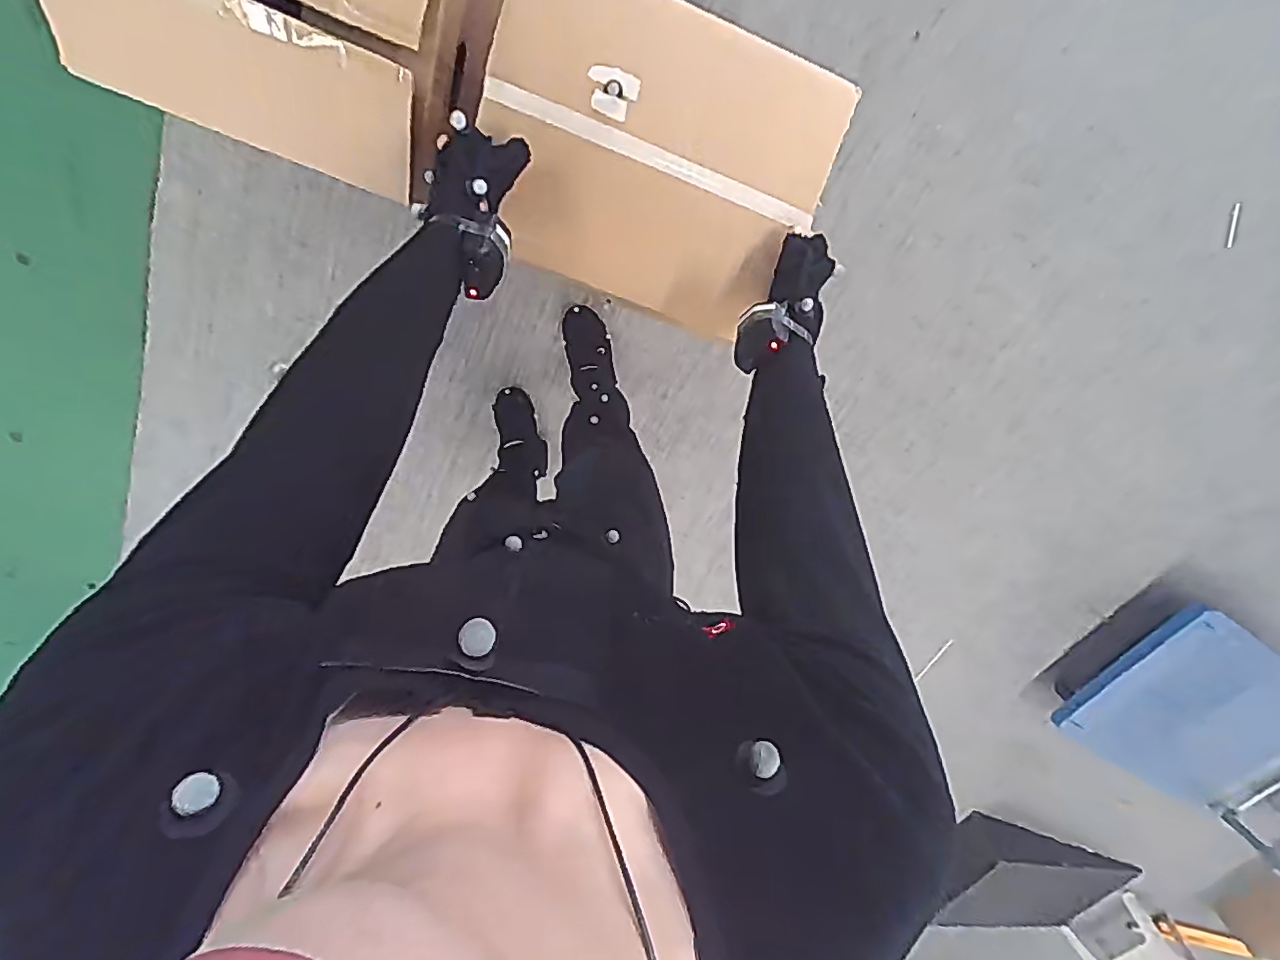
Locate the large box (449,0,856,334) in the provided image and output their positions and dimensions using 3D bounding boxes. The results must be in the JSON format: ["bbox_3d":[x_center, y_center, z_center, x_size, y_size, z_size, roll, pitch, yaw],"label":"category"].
[{"bbox_3d":[0.006,-0.425,0.764,0.408,0.320,0.320,19,105,-7],"label":"large box"}]
